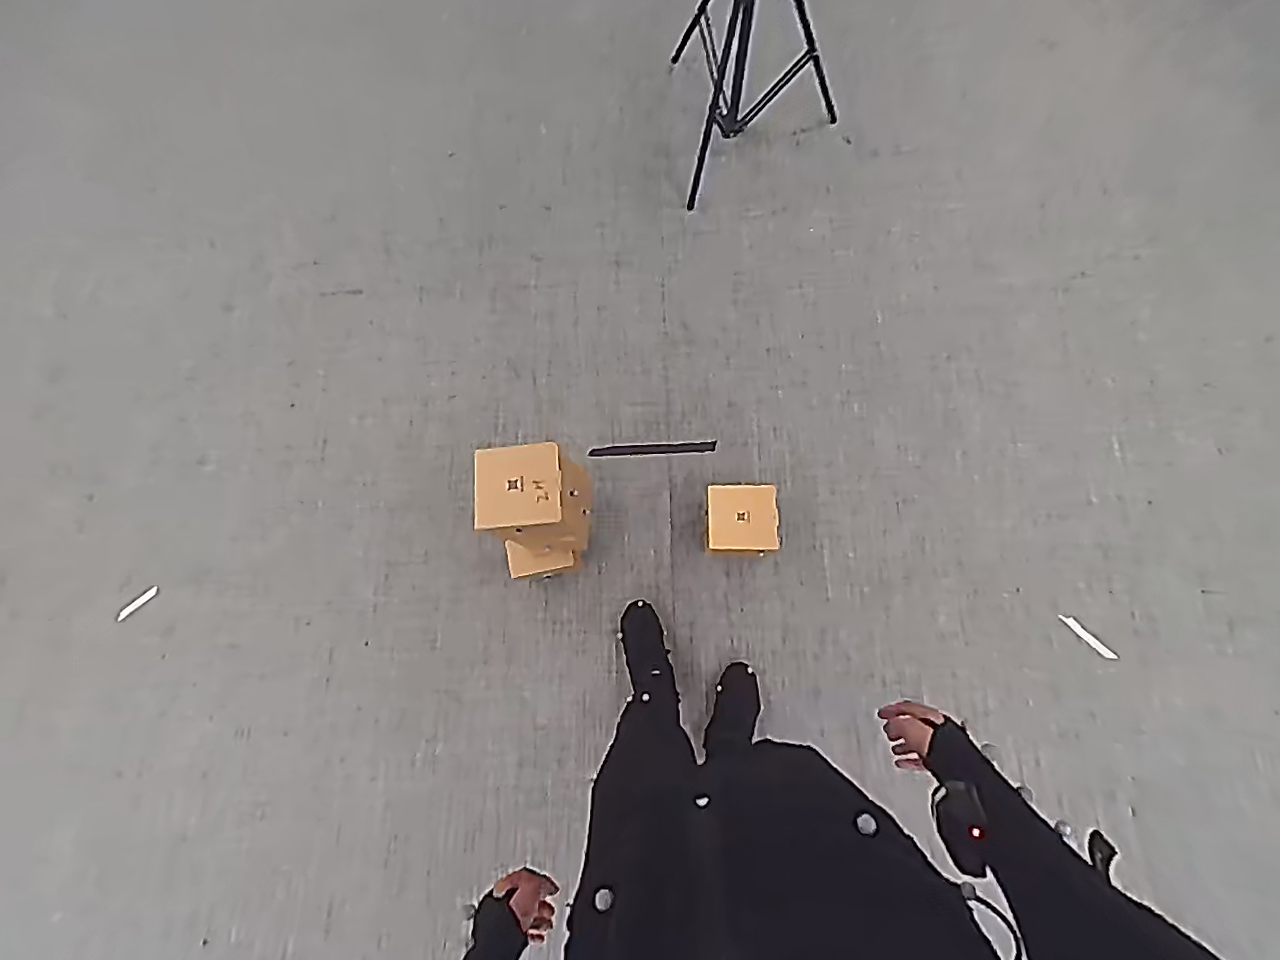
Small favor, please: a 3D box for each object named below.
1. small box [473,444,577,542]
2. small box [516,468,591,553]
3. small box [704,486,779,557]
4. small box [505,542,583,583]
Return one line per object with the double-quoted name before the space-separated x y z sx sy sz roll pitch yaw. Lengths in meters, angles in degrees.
"small box" -0.237 0.034 1.139 0.179 0.176 0.168 -5 75 2
"small box" -0.213 0.074 1.297 0.168 0.176 0.179 2 76 4
"small box" 0.261 0.115 1.432 0.179 0.176 0.168 -1 76 2
"small box" -0.256 0.172 1.443 0.168 0.176 0.179 -12 76 0
